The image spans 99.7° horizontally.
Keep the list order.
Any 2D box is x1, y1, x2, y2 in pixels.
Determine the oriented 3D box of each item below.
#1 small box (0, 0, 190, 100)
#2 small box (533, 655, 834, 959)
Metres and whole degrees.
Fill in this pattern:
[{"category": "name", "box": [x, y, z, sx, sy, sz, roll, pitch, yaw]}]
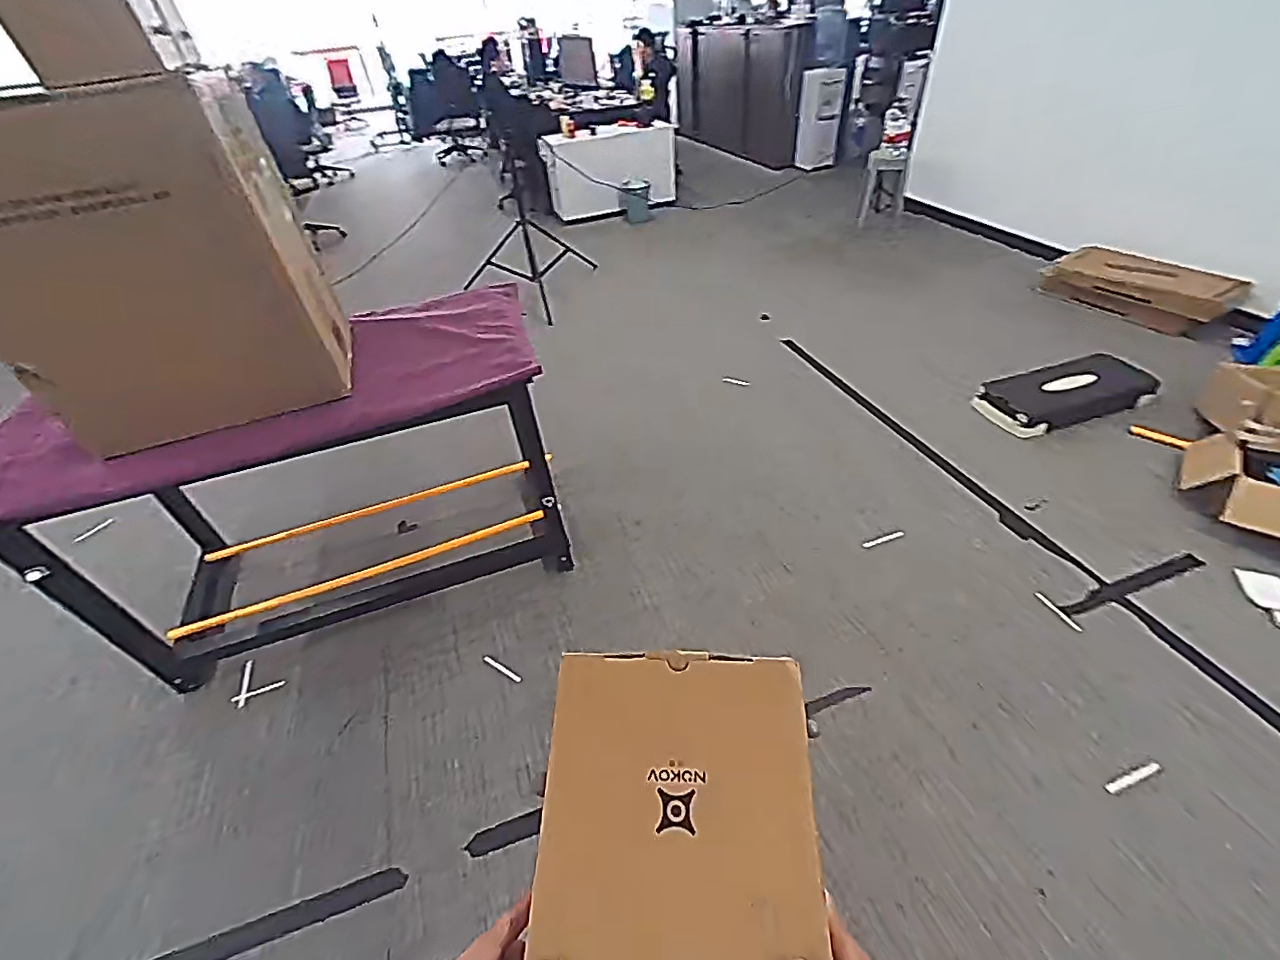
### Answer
[{"category": "small box", "box": [-0.879, -0.723, 0.862, 0.179, 0.176, 0.168, -21, 44, -14]}, {"category": "small box", "box": [0.032, 0.238, 0.395, 0.168, 0.176, 0.179, -1, 56, 5]}]
